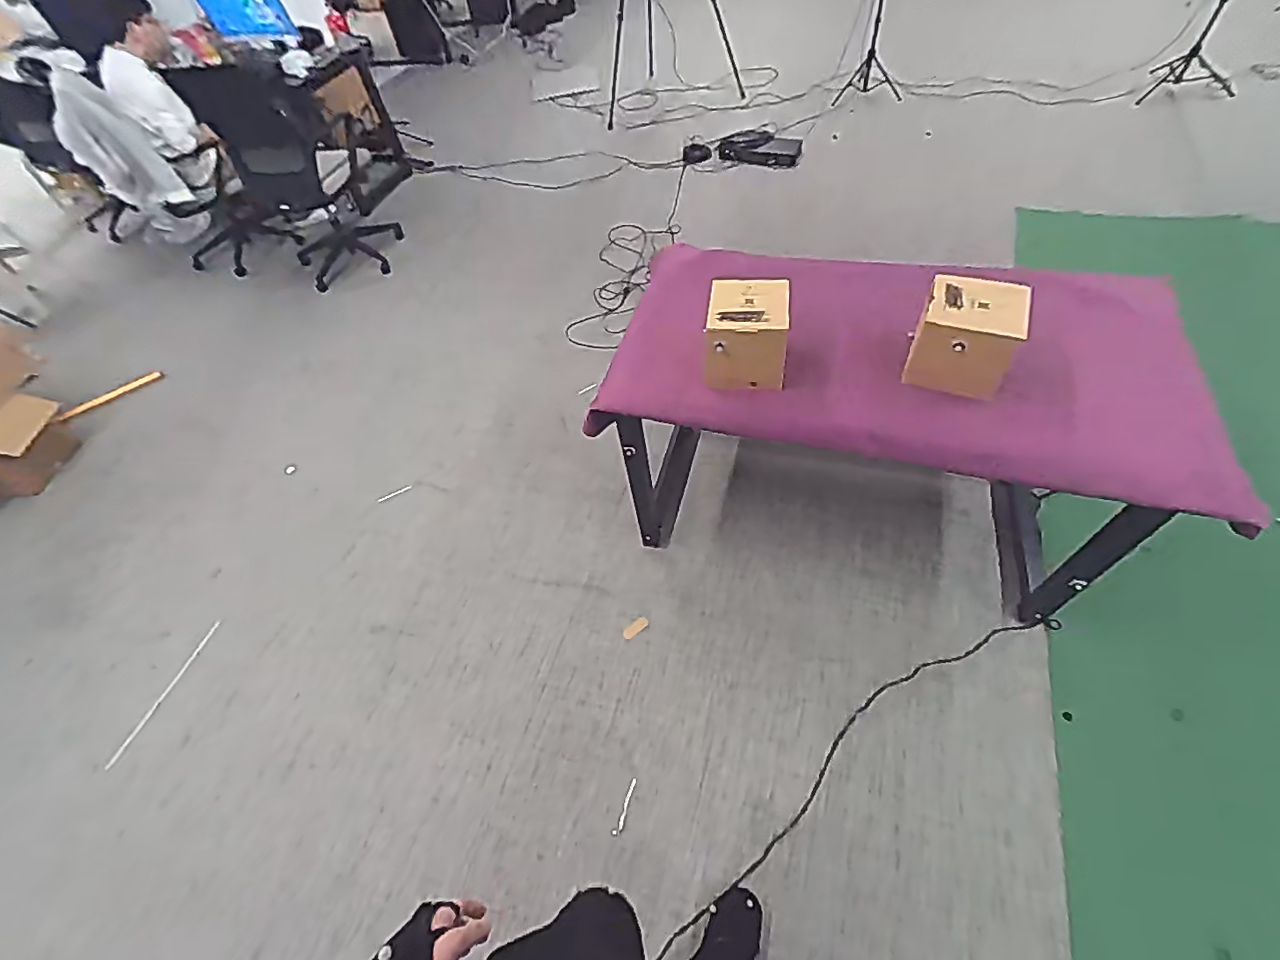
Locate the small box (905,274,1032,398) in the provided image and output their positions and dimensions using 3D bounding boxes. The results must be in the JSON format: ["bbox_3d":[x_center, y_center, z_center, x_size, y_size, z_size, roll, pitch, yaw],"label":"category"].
[{"bbox_3d":[0.667,-0.293,1.112,0.179,0.176,0.168,18,59,19],"label":"small box"}]
